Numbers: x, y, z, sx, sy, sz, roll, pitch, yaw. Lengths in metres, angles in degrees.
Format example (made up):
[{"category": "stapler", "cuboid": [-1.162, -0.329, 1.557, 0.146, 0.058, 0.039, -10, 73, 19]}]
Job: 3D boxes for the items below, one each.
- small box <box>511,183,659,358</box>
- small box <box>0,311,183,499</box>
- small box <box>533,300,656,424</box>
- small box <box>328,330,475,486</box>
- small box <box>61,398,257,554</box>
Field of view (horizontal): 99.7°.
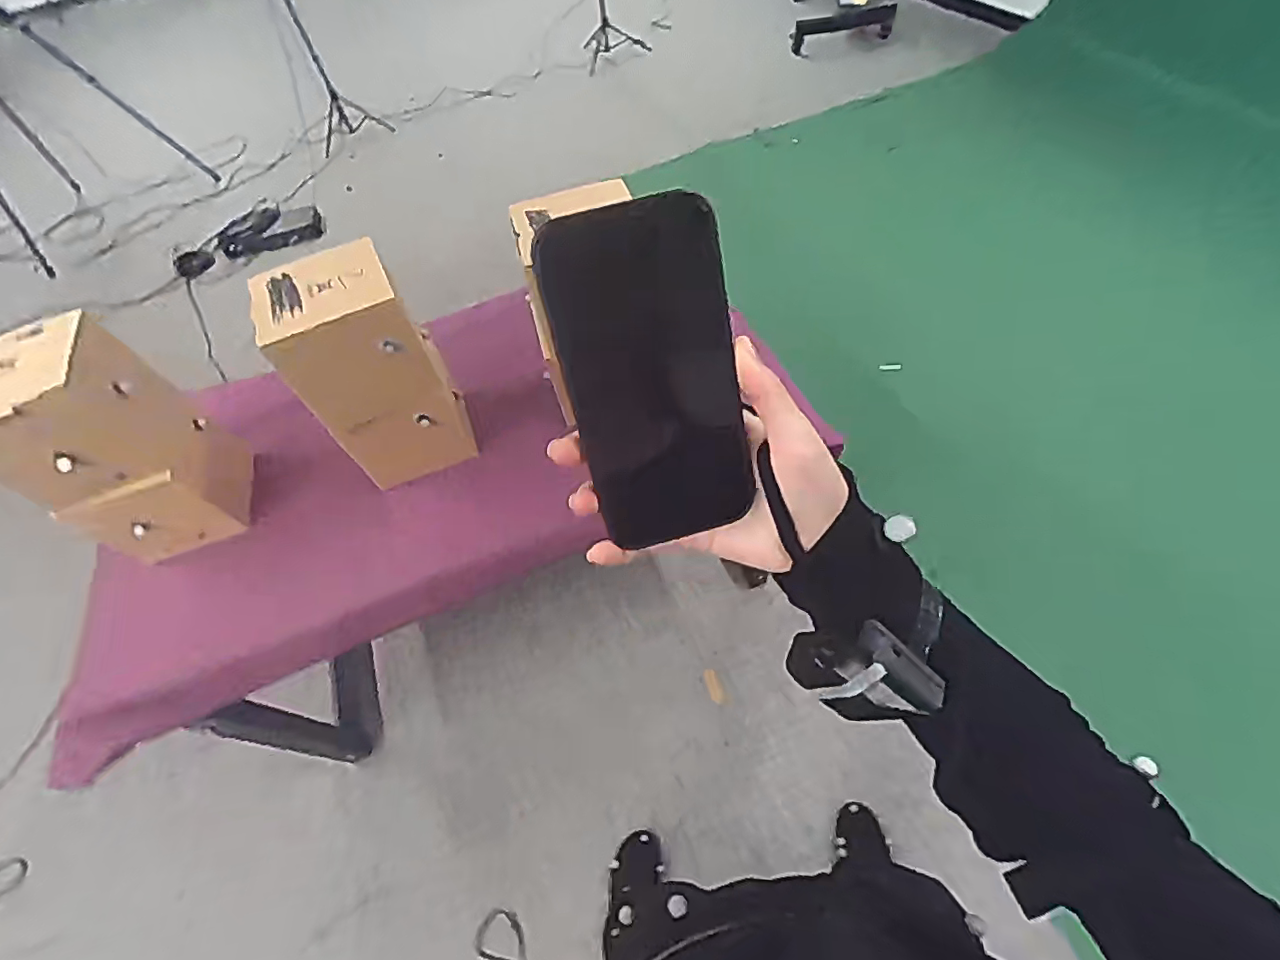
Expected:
[{"category": "small box", "cuboid": [-0.078, -0.308, 0.812, 0.179, 0.176, 0.168, -15, 55, -4]}, {"category": "small box", "cuboid": [-0.786, -0.094, 0.755, 0.168, 0.176, 0.179, -24, 57, -10]}, {"category": "small box", "cuboid": [-0.074, -0.226, 0.955, 0.179, 0.176, 0.168, -16, 56, -3]}, {"category": "small box", "cuboid": [-0.396, -0.118, 0.920, 0.179, 0.176, 0.168, -21, 56, -7]}, {"category": "small box", "cuboid": [-0.766, 0.003, 0.886, 0.168, 0.176, 0.179, -20, 56, -6]}]
